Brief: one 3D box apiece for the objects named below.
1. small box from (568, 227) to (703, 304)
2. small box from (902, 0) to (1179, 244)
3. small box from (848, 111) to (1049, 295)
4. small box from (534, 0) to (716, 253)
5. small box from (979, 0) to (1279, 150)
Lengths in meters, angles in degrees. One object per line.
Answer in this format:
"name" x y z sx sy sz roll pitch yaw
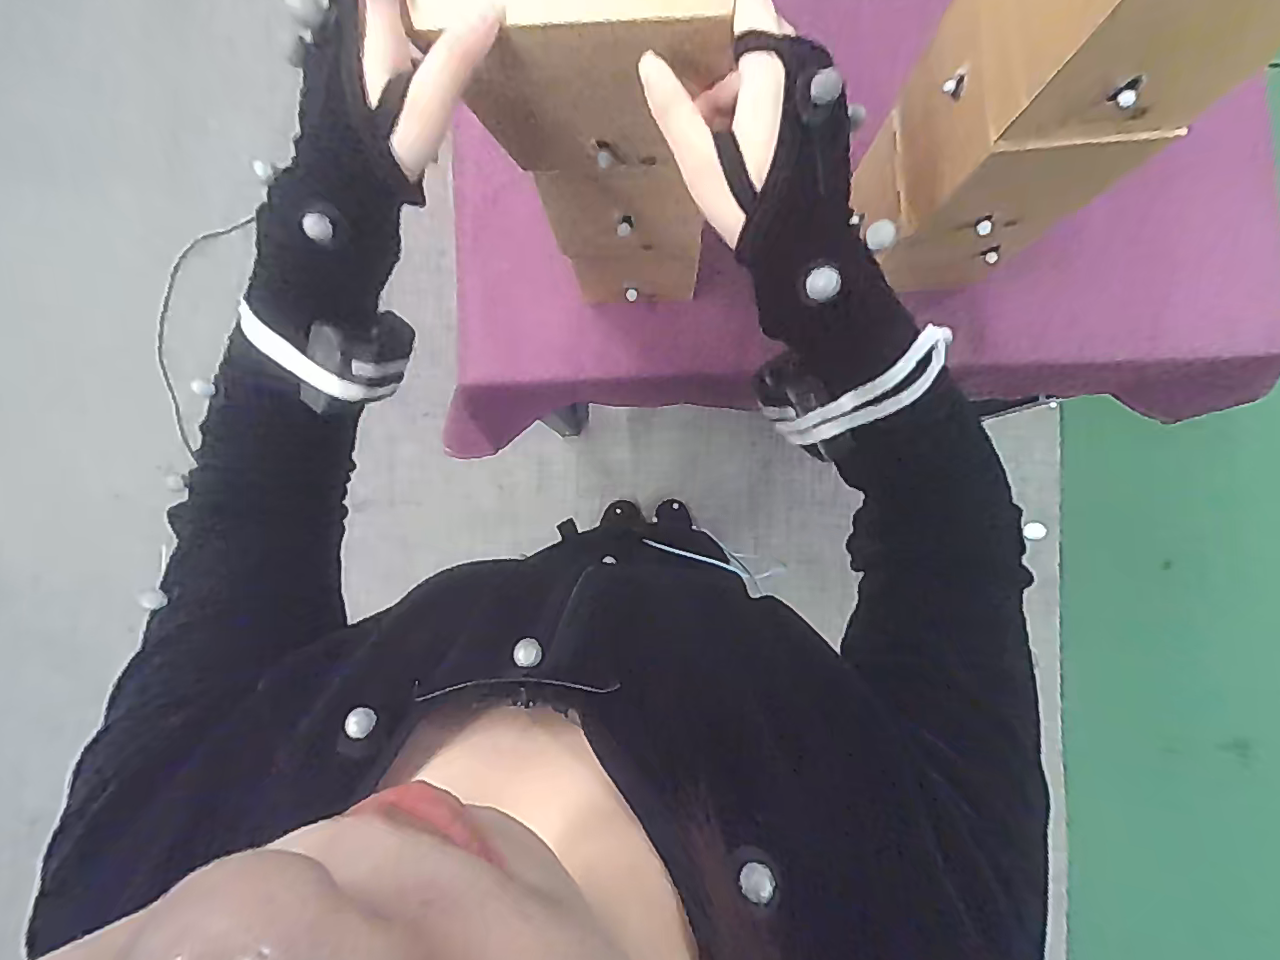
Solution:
"small box" -0.003 -0.357 0.735 0.168 0.176 0.179 0 88 2
"small box" 0.390 -0.370 0.559 0.168 0.176 0.179 -2 88 3
"small box" 0.396 -0.359 0.722 0.179 0.176 0.168 -1 86 2
"small box" -0.011 -0.358 0.571 0.168 0.176 0.179 1 88 1
"small box" 0.380 -0.385 0.398 0.168 0.176 0.179 -4 88 2
